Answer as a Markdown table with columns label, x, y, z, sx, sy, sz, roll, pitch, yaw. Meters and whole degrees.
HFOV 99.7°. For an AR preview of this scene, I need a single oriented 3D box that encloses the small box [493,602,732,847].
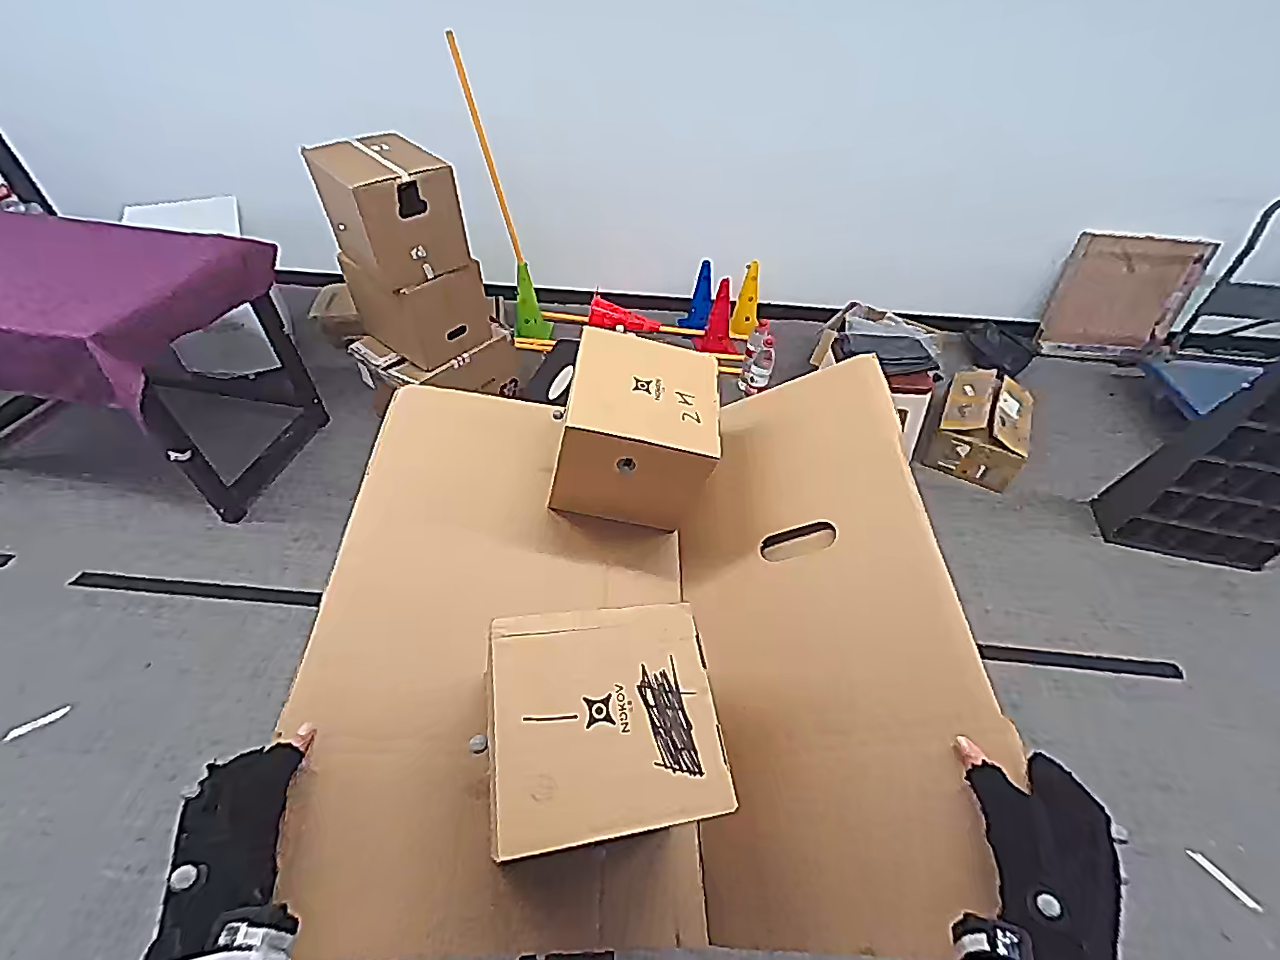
| label | x | y | z | sx | sy | sz | roll | pitch | yaw |
| --- | --- | --- | --- | --- | --- | --- | --- | --- | --- |
| small box | -0.042 | 0.224 | 0.498 | 0.179 | 0.176 | 0.168 | -1 | 57 | -17 |

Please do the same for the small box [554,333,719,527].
| label | x | y | z | sx | sy | sz | roll | pitch | yaw |
| --- | --- | --- | --- | --- | --- | --- | --- | --- | --- |
| small box | -0.008 | -0.057 | 0.704 | 0.179 | 0.176 | 0.168 | 12 | 54 | -9 |
